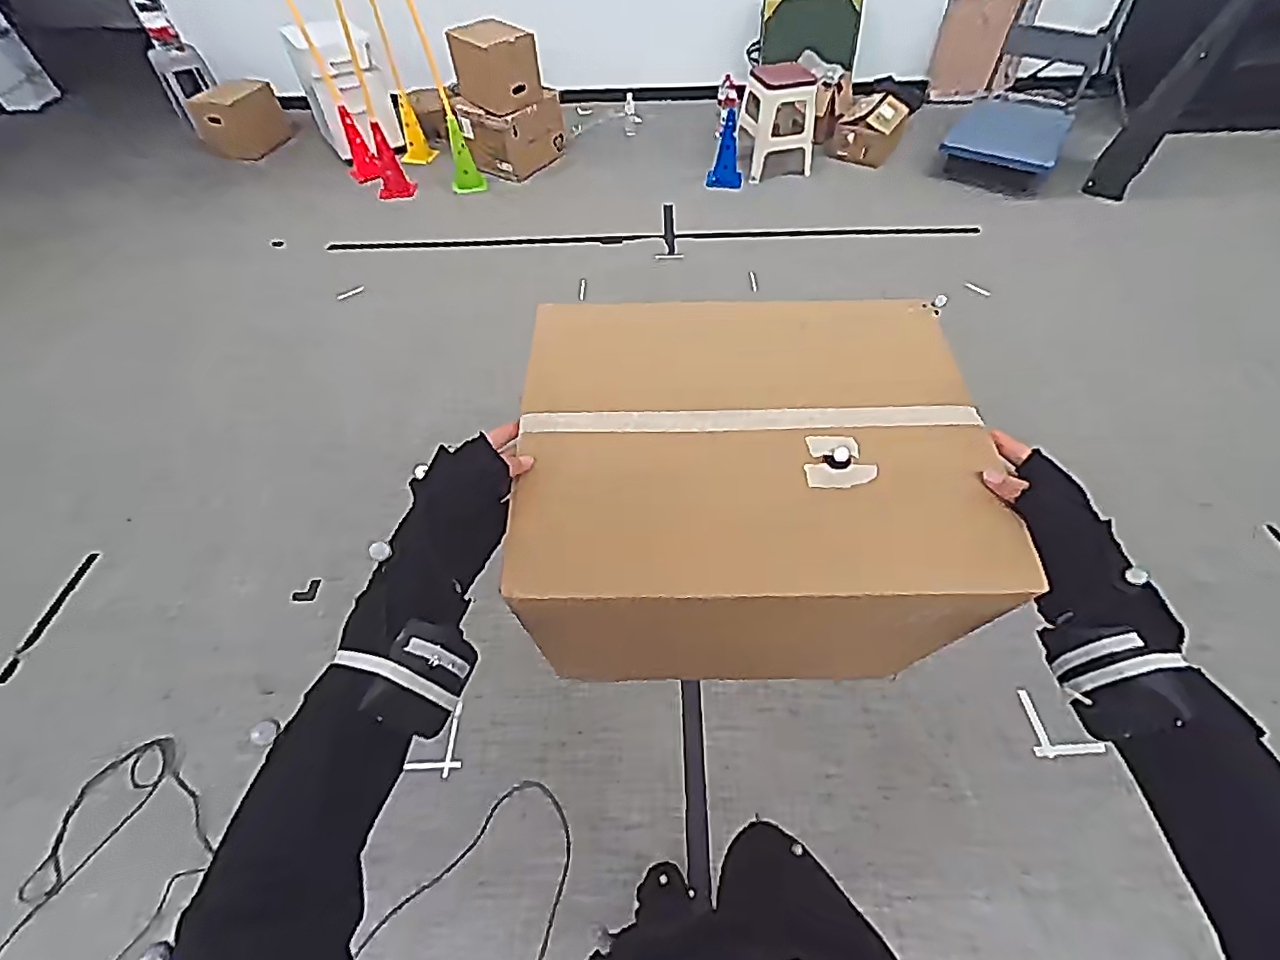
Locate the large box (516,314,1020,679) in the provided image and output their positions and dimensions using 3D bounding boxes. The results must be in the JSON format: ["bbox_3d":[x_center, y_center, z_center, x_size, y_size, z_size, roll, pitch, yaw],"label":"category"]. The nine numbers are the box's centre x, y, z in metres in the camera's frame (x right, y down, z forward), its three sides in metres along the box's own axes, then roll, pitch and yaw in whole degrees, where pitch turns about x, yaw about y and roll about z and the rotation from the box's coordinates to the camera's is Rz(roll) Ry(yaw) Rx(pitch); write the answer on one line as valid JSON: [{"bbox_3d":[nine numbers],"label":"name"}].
[{"bbox_3d":[0.096,0.034,0.622,0.408,0.320,0.320,-1,59,0],"label":"large box"}]
